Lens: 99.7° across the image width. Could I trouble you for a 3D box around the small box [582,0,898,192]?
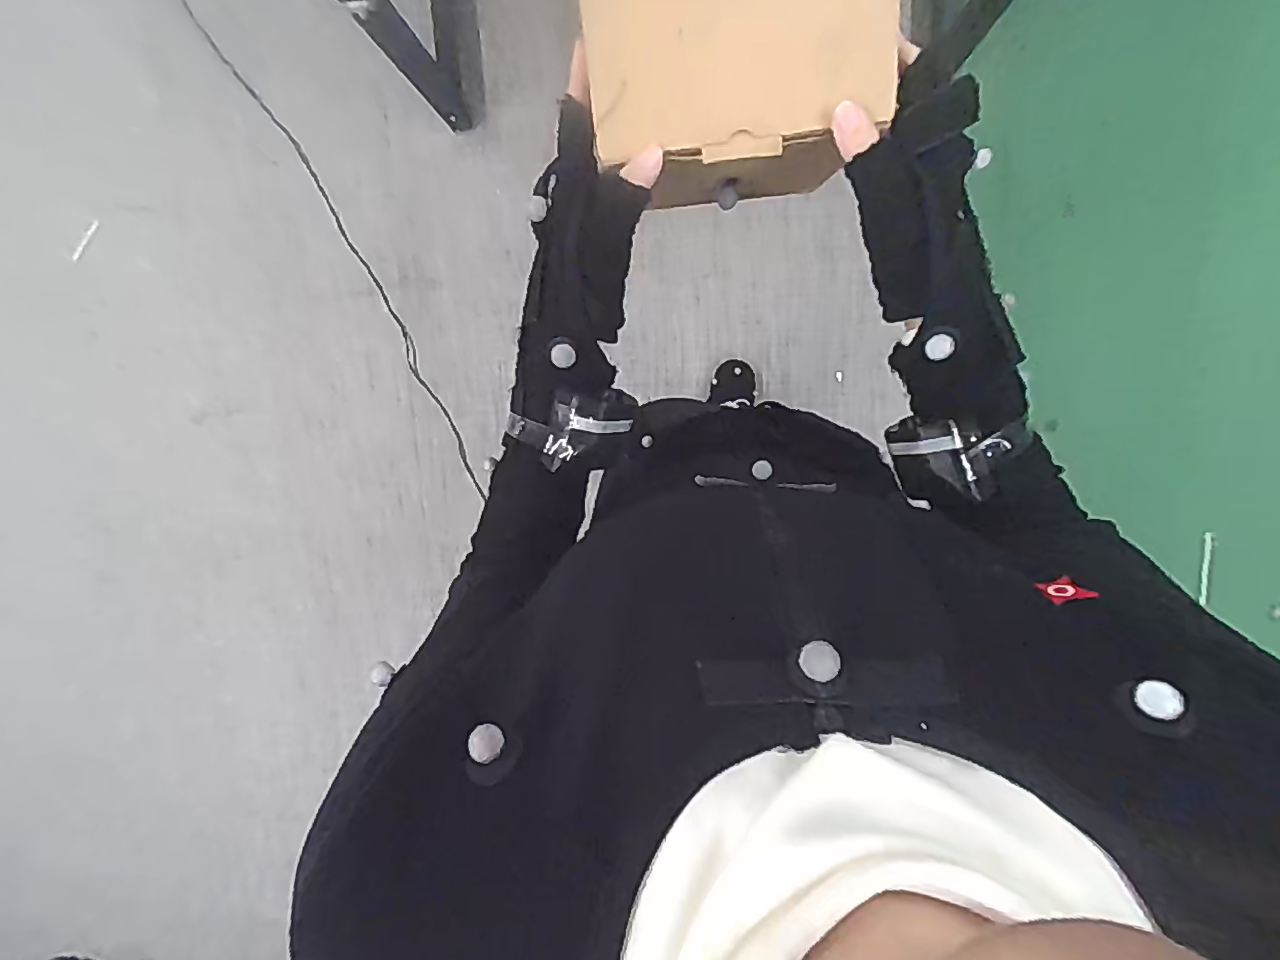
[{"bbox_3d":[0.054,-0.298,0.350,0.168,0.176,0.179,-5,109,5],"label":"small box"}]
